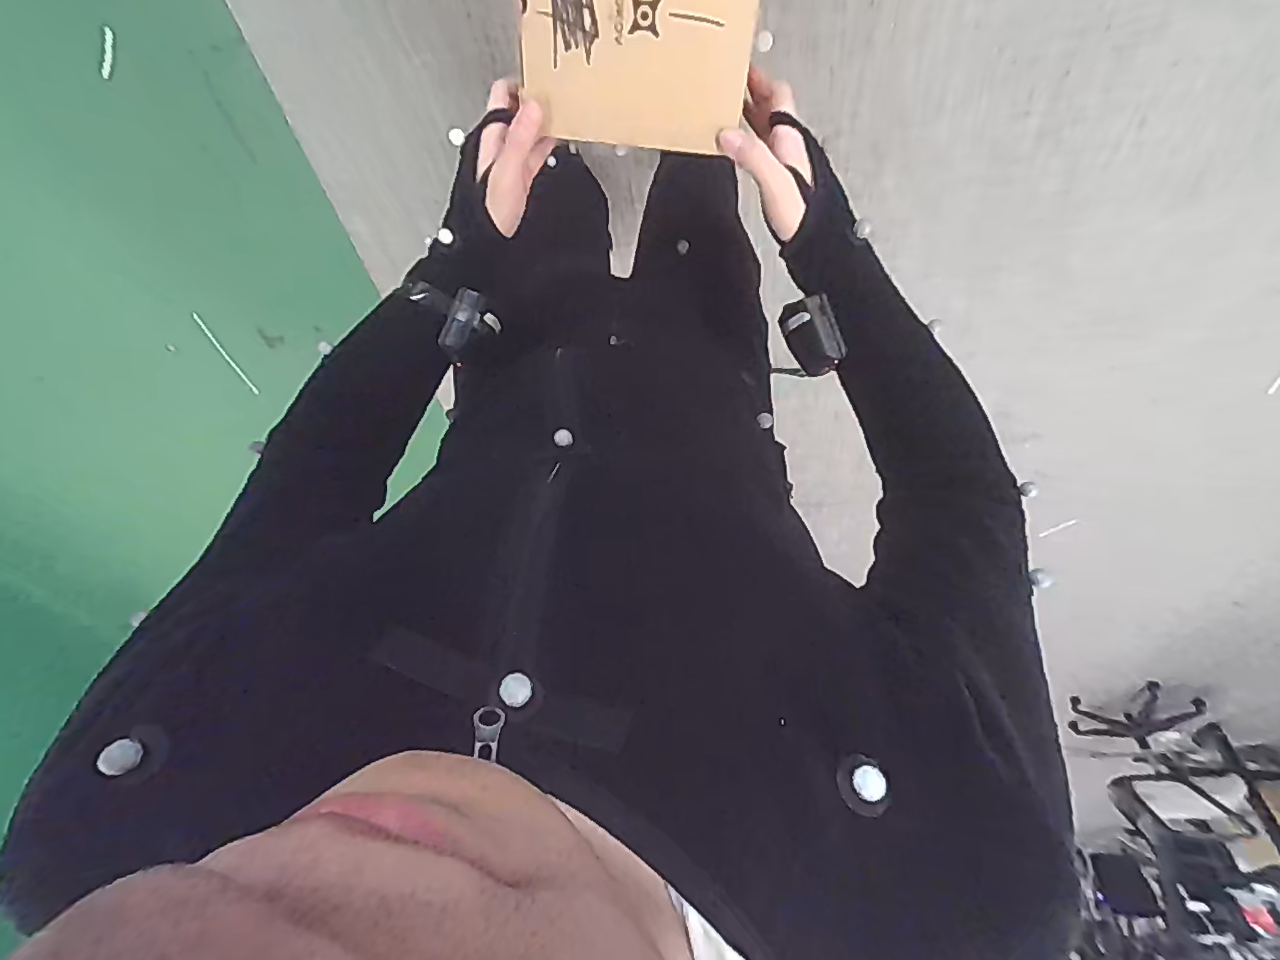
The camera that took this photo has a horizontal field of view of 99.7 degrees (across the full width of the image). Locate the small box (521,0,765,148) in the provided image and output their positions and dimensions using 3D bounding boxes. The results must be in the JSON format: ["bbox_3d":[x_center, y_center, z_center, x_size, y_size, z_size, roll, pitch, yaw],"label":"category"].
[{"bbox_3d":[0.011,-0.384,0.442,0.179,0.176,0.168,8,129,4],"label":"small box"}]
